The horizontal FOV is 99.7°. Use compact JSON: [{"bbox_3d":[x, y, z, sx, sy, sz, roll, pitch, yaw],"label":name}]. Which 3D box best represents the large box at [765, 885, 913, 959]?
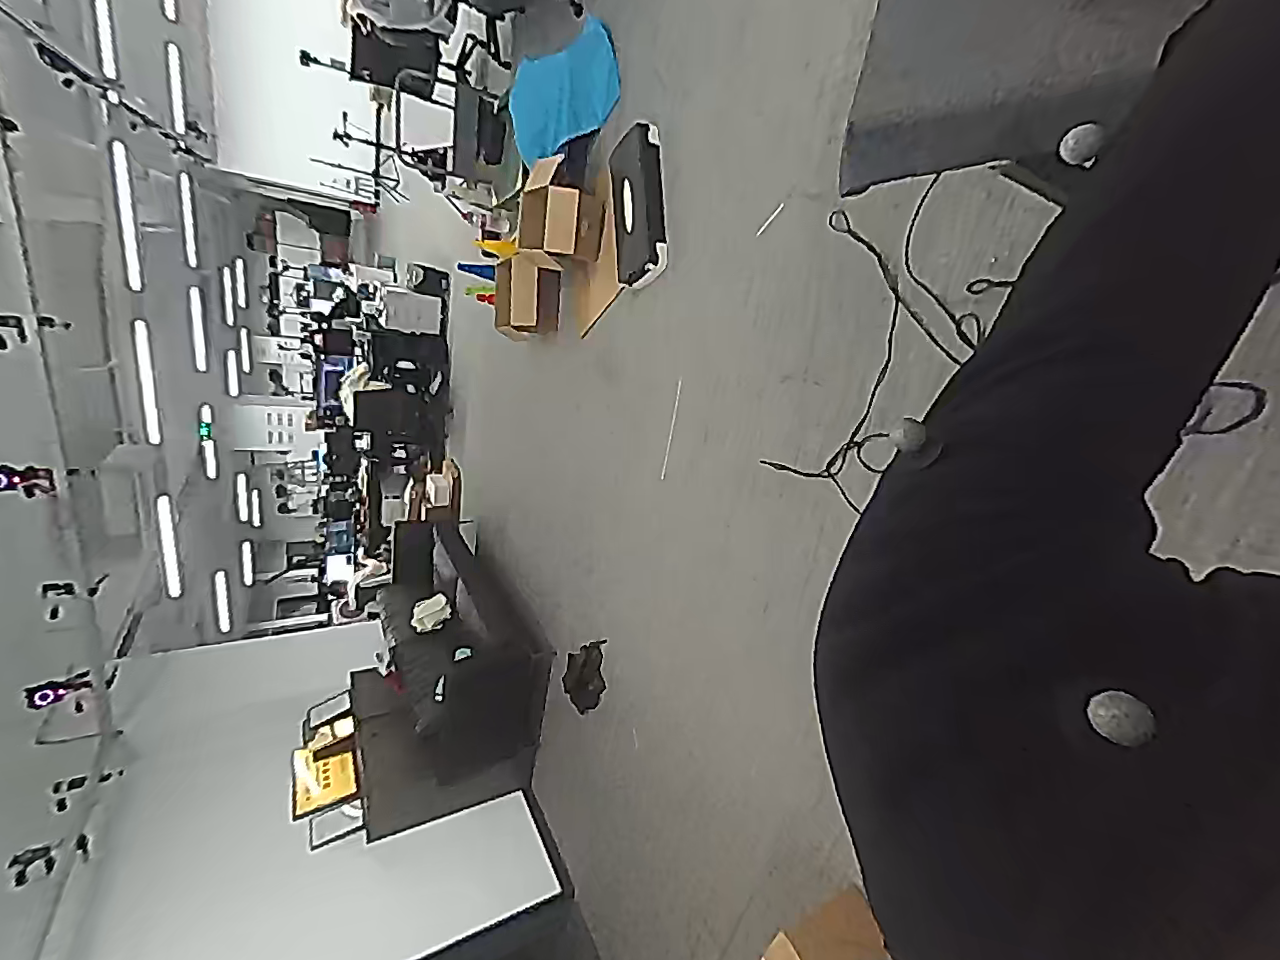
[{"bbox_3d":[0.590,1.447,1.475,0.408,0.320,0.320,47,130,49],"label":"large box"}]
